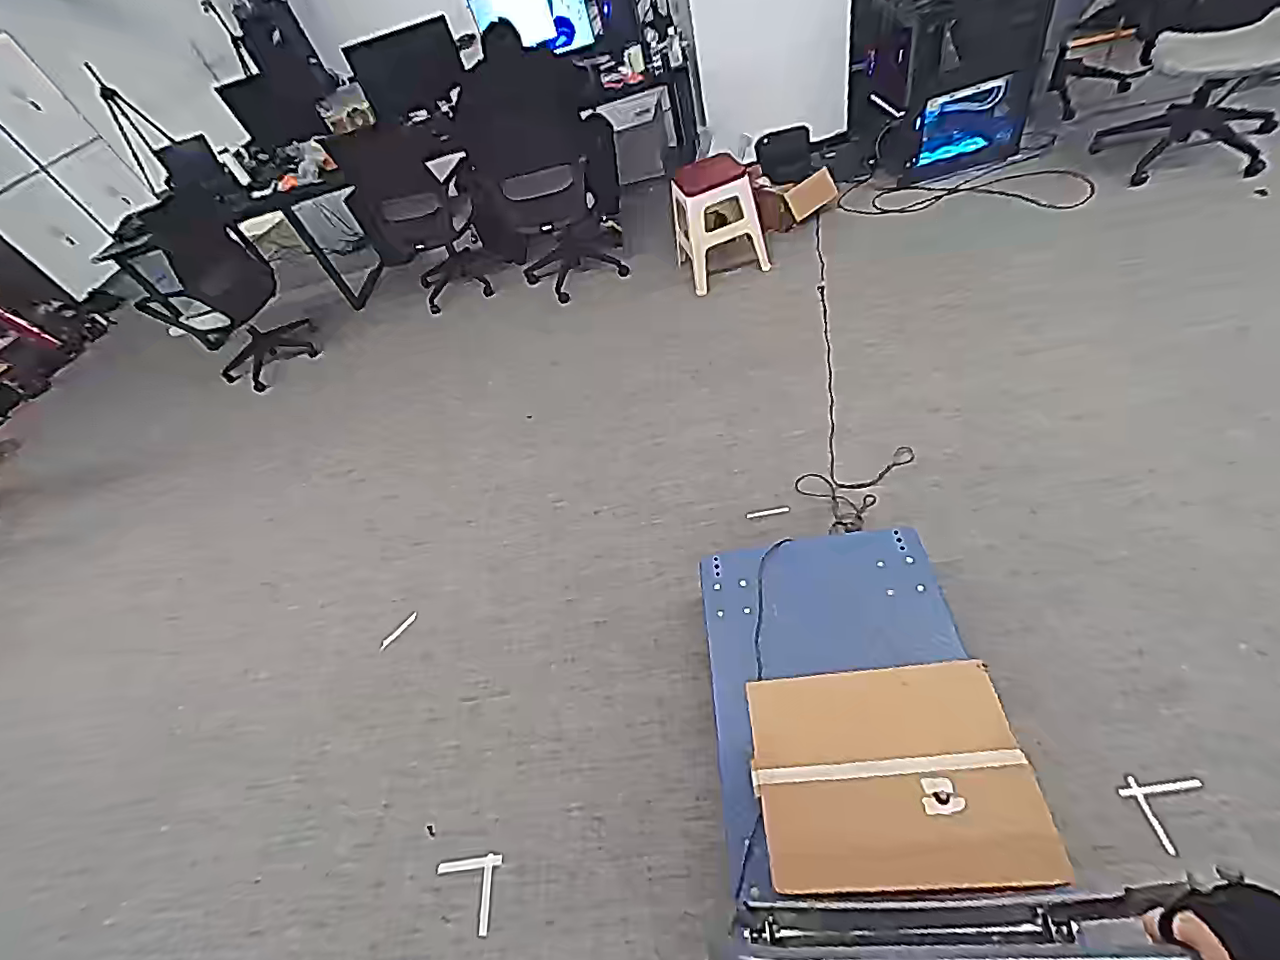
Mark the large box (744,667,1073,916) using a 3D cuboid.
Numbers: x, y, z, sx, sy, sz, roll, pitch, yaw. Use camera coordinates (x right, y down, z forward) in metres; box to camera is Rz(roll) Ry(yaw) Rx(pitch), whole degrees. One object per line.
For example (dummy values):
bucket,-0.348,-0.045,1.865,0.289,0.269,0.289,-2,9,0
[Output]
large box,0.417,0.560,0.956,0.408,0.320,0.320,-10,49,9
